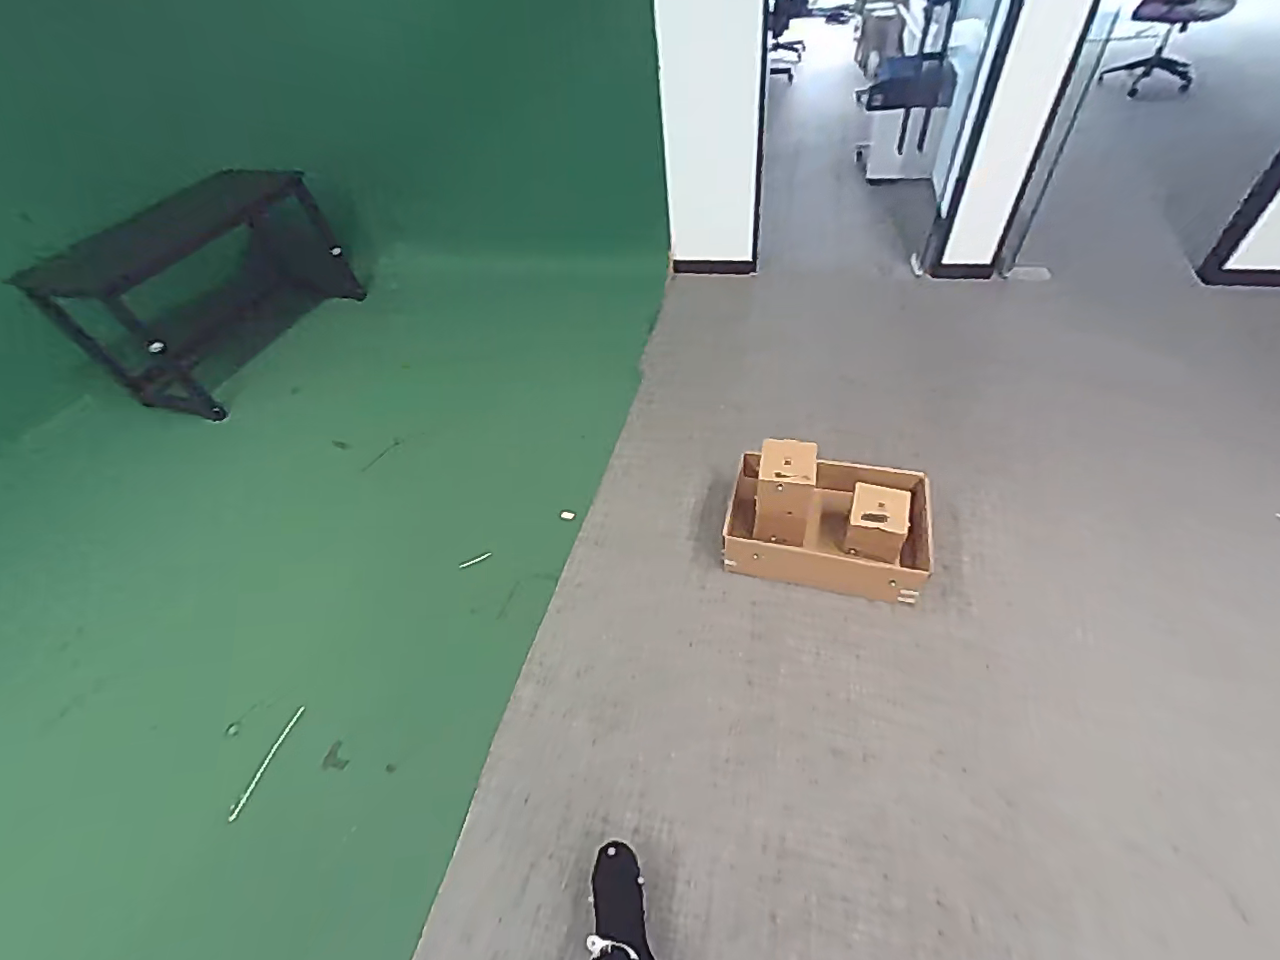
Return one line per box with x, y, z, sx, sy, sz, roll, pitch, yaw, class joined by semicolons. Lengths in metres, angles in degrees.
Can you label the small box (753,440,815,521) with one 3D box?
0.448;0.002;1.694;0.168;0.176;0.179;6;50;13;small box
